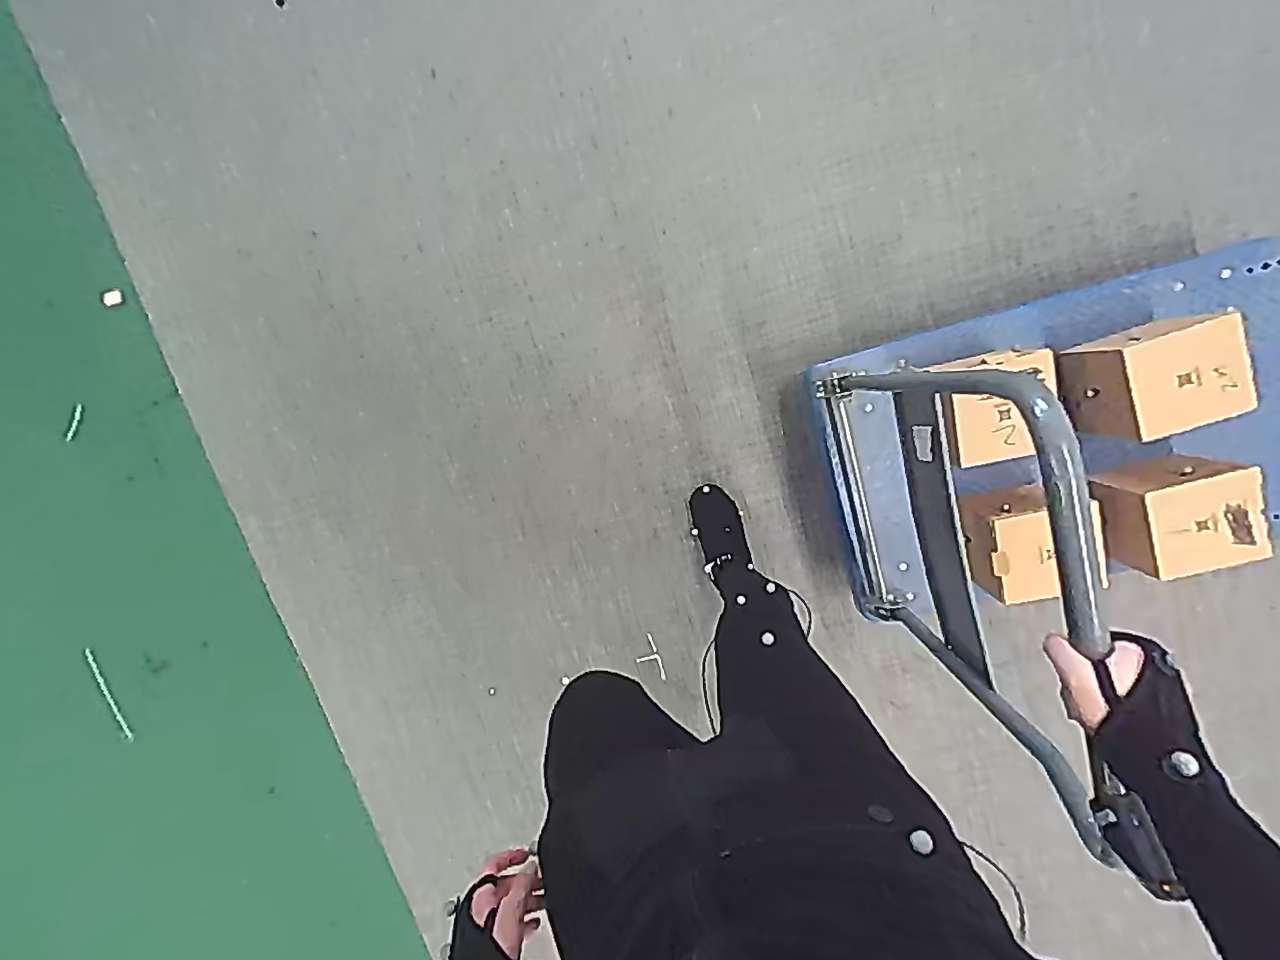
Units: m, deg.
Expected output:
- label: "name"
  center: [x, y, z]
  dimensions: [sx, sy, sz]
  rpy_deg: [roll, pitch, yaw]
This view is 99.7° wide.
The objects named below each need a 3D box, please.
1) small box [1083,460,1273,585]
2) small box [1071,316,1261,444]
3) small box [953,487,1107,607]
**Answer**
- label: "small box"
  center: [0.973, 0.069, 0.992]
  dimensions: [0.179, 0.176, 0.168]
  rpy_deg: [-15, 98, 10]
- label: "small box"
  center: [0.906, -0.173, 0.953]
  dimensions: [0.179, 0.176, 0.168]
  rpy_deg: [-18, 99, 10]
- label: "small box"
  center: [0.733, 0.120, 1.031]
  dimensions: [0.179, 0.176, 0.168]
  rpy_deg: [-12, 99, 10]
